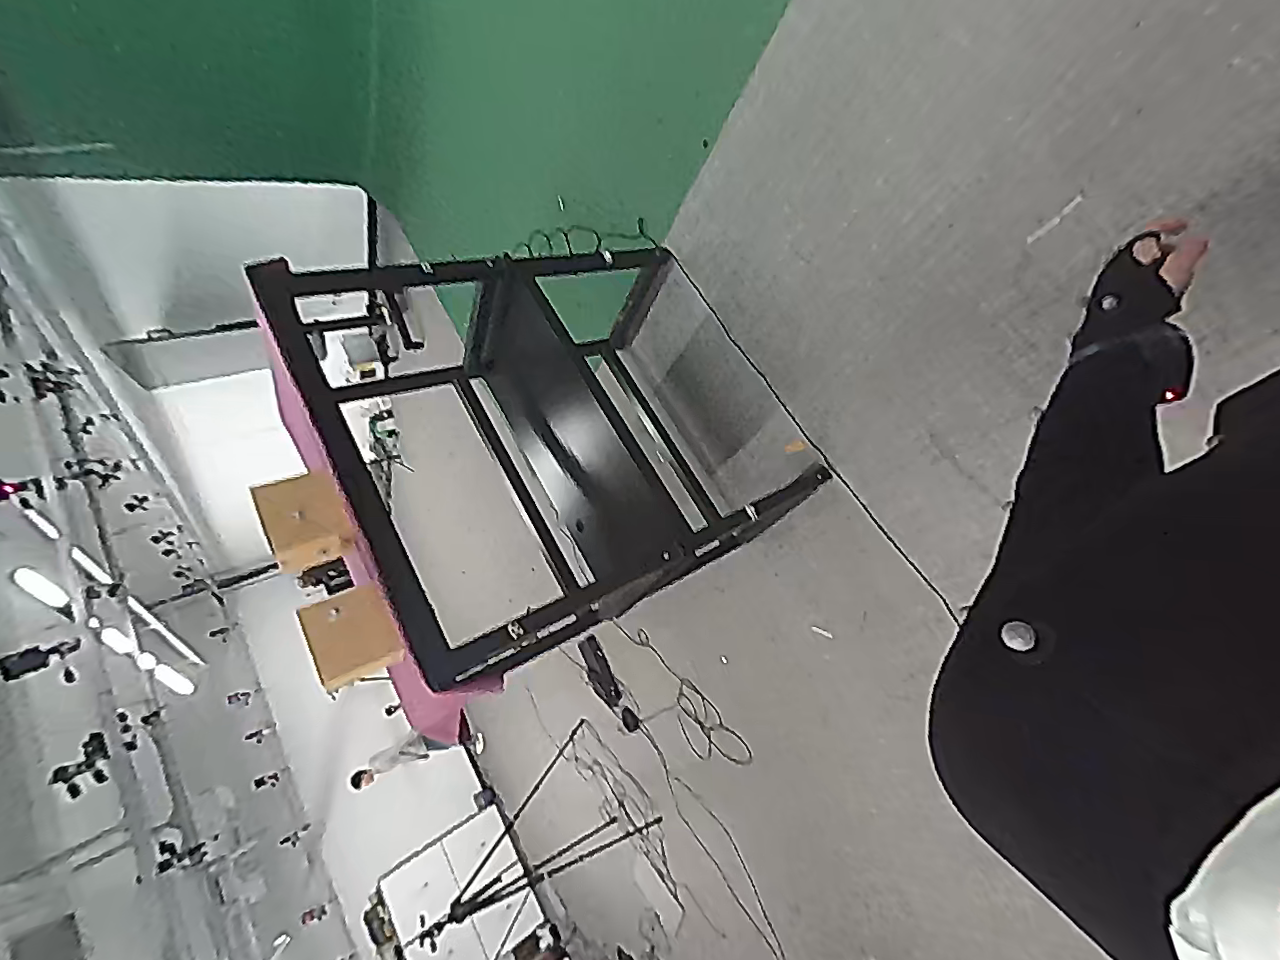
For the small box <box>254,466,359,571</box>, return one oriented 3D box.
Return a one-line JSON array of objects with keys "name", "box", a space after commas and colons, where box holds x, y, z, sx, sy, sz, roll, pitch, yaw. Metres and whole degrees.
[{"name": "small box", "box": [-0.797, 0.092, 1.308, 0.179, 0.176, 0.168, 61, 146, 12]}]
